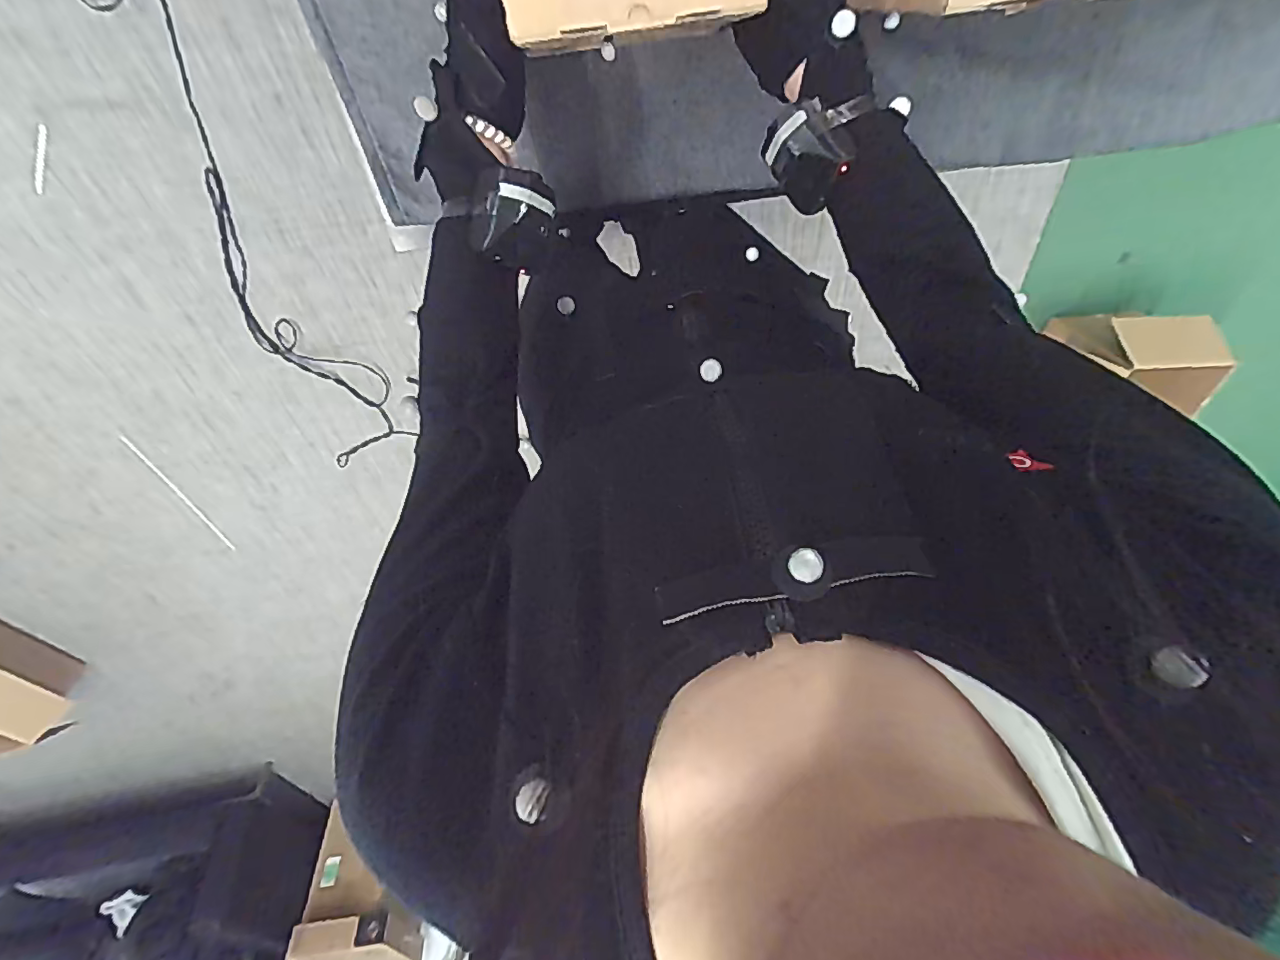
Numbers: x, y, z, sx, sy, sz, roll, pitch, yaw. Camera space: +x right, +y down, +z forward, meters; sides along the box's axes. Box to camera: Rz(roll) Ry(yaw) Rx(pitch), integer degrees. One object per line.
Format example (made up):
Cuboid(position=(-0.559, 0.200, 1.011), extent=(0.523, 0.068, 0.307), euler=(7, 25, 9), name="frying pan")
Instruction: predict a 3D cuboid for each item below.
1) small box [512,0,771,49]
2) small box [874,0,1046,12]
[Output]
Cuboid(position=(-0.016, -0.404, 0.354), extent=(0.168, 0.176, 0.179), euler=(-10, 129, -2), name="small box")
Cuboid(position=(0.269, -0.445, 0.371), extent=(0.168, 0.176, 0.179), euler=(-8, 131, -2), name="small box")
